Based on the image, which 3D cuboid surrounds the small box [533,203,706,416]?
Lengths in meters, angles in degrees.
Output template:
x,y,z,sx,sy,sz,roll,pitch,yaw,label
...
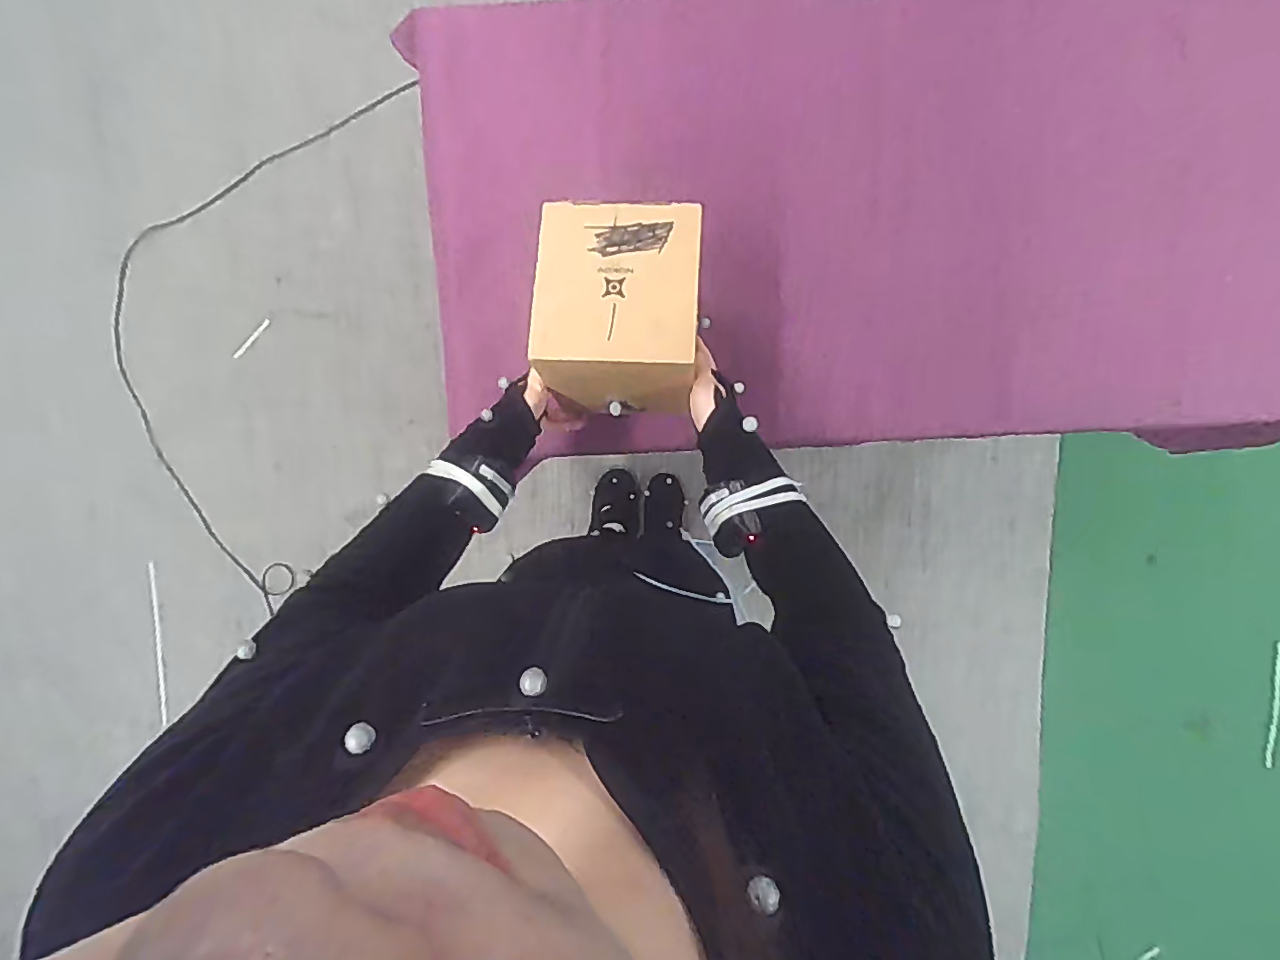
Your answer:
x,y,z,sx,sy,sz,roll,pitch,yaw,label
-0.015,-0.186,0.623,0.168,0.176,0.179,3,80,5,small box
